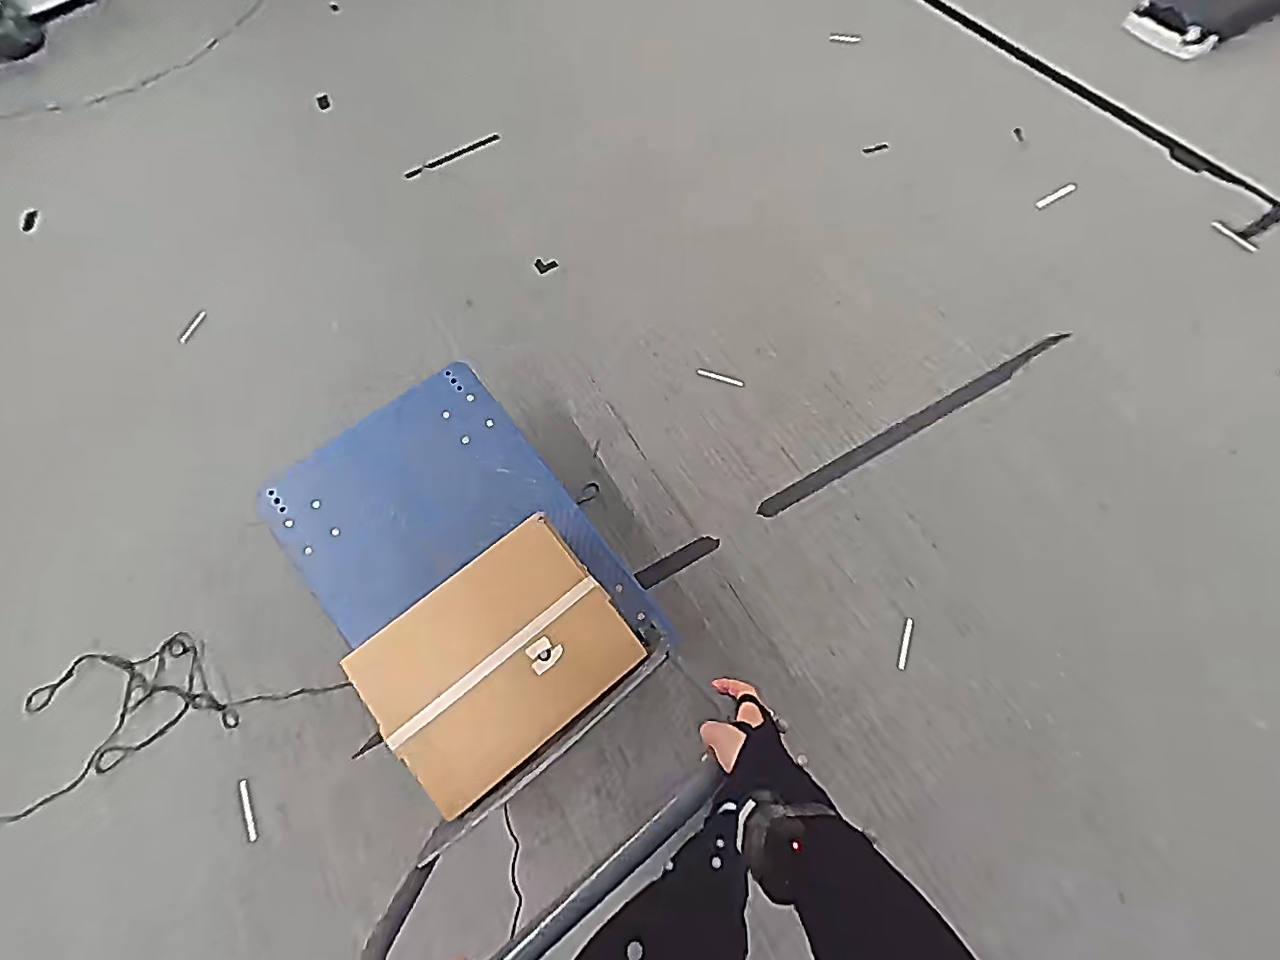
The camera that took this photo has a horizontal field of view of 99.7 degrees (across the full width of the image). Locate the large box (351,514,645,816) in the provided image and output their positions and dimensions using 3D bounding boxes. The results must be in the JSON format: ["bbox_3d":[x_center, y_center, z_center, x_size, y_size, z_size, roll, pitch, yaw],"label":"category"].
[{"bbox_3d":[-0.246,0.332,1.053,0.408,0.320,0.320,-39,83,-12],"label":"large box"}]
